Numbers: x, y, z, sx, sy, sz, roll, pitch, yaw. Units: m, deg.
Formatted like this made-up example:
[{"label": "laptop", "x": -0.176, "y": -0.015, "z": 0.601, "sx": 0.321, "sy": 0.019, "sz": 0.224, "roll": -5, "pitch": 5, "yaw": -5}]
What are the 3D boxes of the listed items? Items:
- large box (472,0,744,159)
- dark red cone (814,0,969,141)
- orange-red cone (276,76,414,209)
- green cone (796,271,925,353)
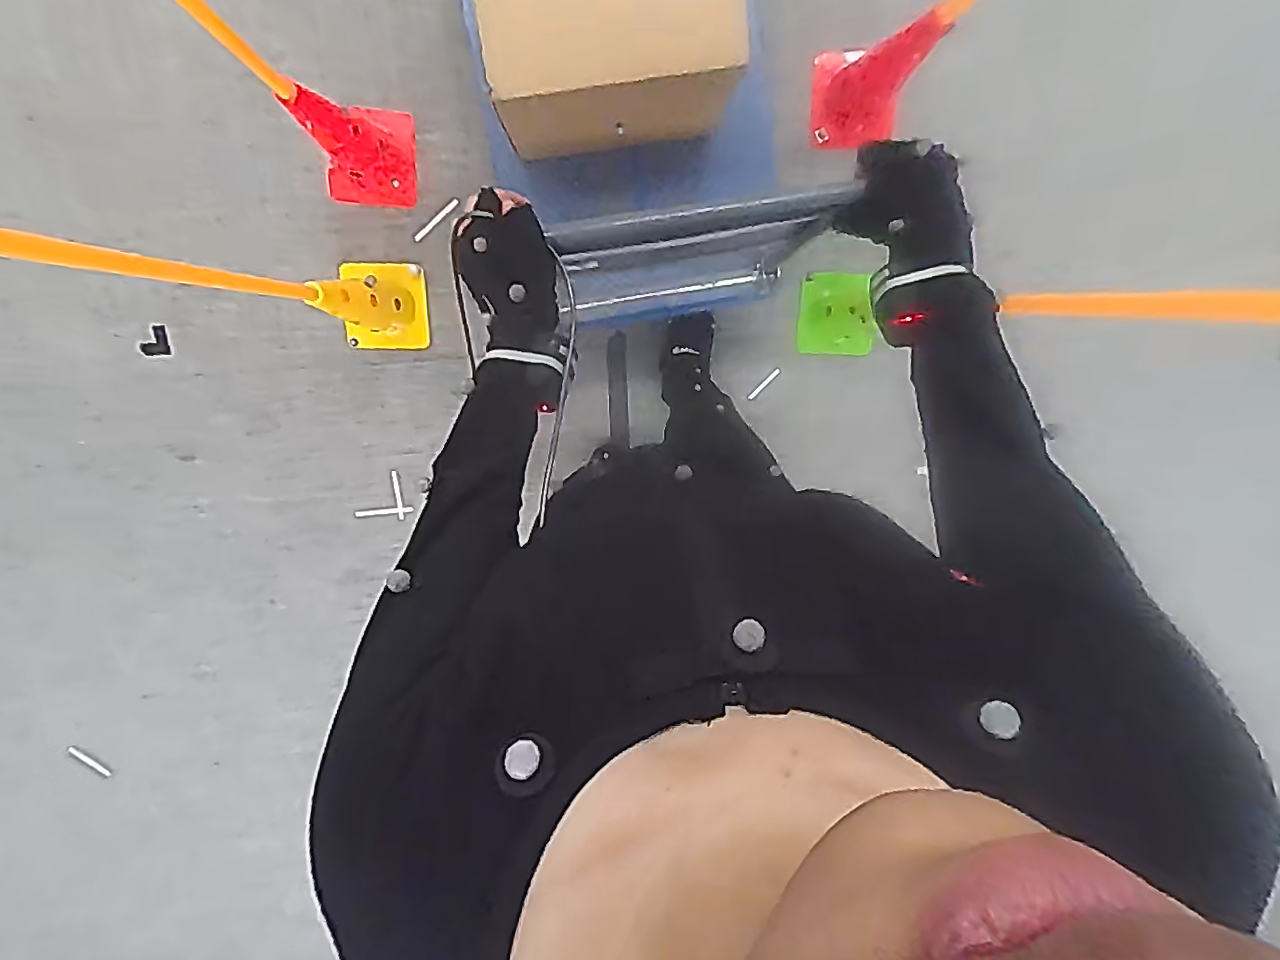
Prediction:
[{"label": "large box", "x": -0.063, "y": -0.797, "z": 0.939, "sx": 0.408, "sy": 0.320, "sz": 0.320, "roll": -9, "pitch": 105, "yaw": -1}, {"label": "dark red cone", "x": 0.515, "y": -0.854, "z": 1.090, "sx": 0.201, "sy": 0.394, "sz": 0.202, "roll": -4, "pitch": 105, "yaw": -5}, {"label": "orange-red cone", "x": -0.609, "y": -0.701, "z": 1.078, "sx": 0.198, "sy": 0.360, "sz": 0.199, "roll": 3, "pitch": 102, "yaw": -5}, {"label": "green cone", "x": 0.518, "y": -0.388, "z": 1.225, "sx": 0.202, "sy": 0.368, "sz": 0.200, "roll": 0, "pitch": 104, "yaw": -5}]
